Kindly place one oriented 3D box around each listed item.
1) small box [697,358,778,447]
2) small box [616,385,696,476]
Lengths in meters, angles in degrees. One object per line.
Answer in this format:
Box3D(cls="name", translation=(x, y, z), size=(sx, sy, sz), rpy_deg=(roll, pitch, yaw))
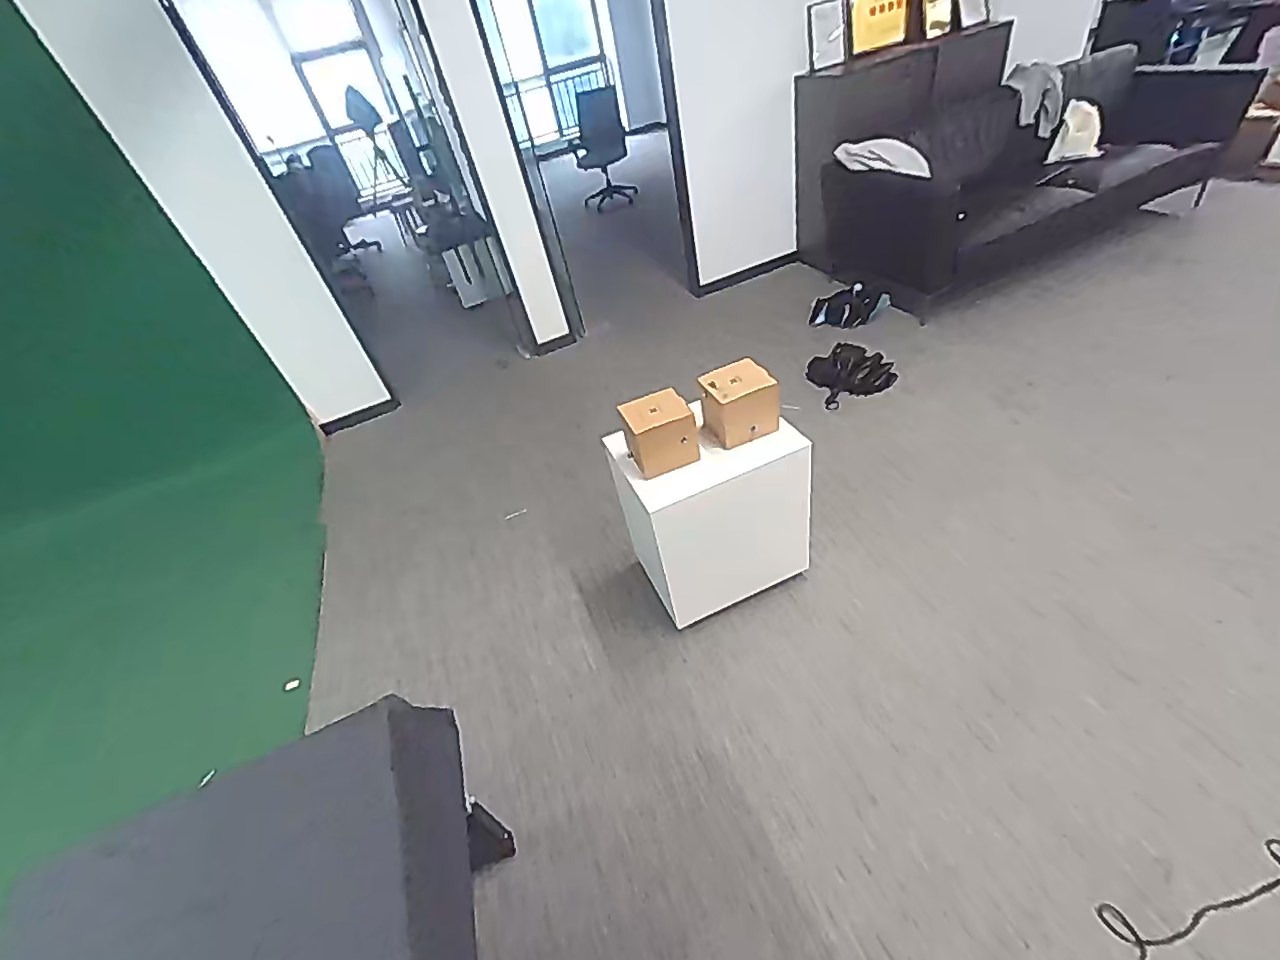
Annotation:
Box3D(cls="small box", translation=(0.283, -0.226, 1.575), size=(0.179, 0.176, 0.168), rpy_deg=(-21, 41, -9))
Box3D(cls="small box", translation=(0.051, -0.140, 1.540), size=(0.179, 0.176, 0.168), rpy_deg=(-22, 40, -9))
